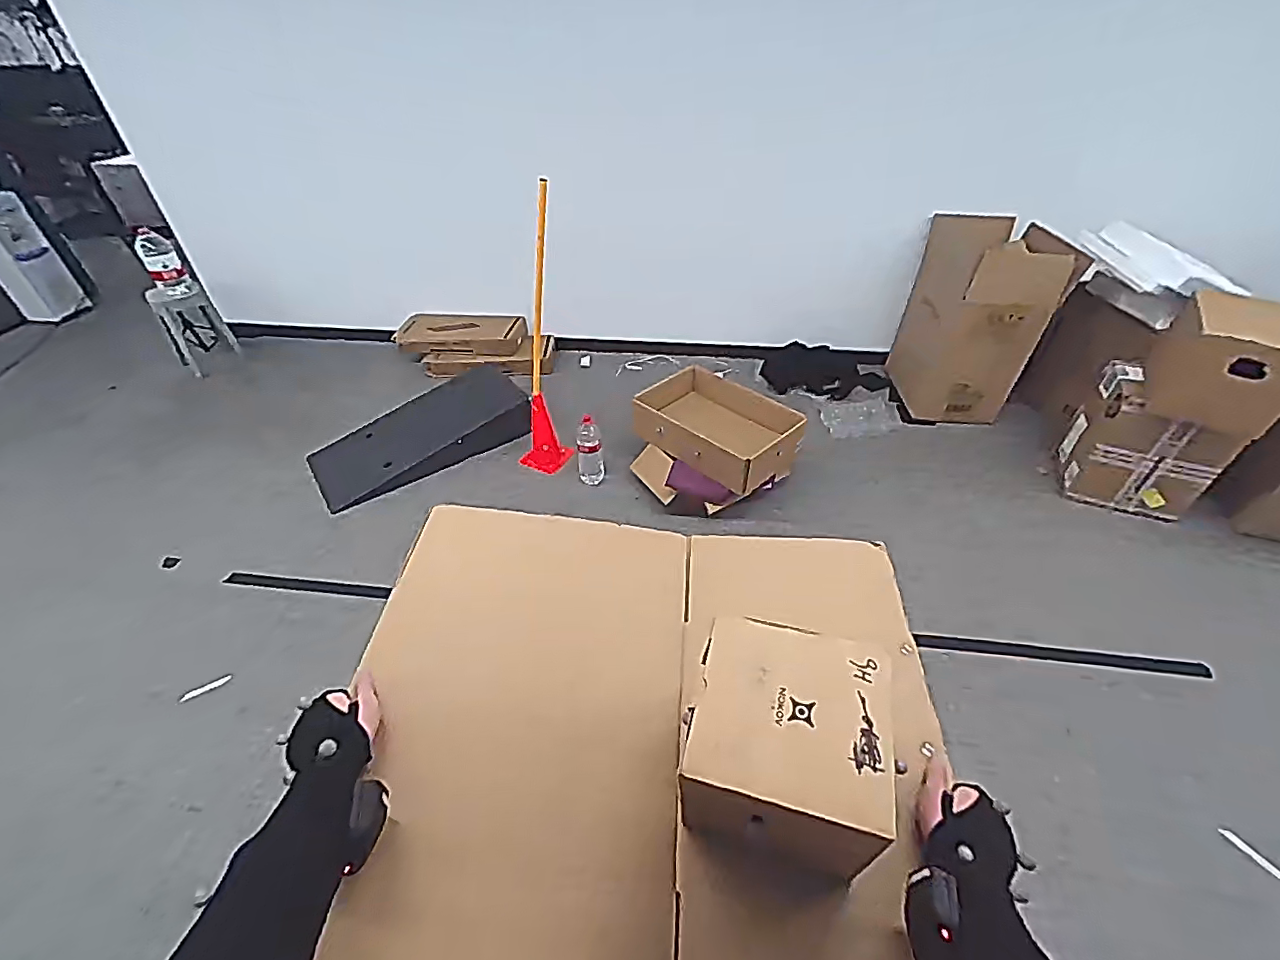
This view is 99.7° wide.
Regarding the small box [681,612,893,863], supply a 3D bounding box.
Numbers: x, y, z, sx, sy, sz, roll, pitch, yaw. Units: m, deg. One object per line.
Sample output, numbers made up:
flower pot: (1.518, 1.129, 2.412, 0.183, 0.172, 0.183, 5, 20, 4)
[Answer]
small box: (0.149, 0.265, 0.557, 0.179, 0.176, 0.168, 9, 47, 15)
